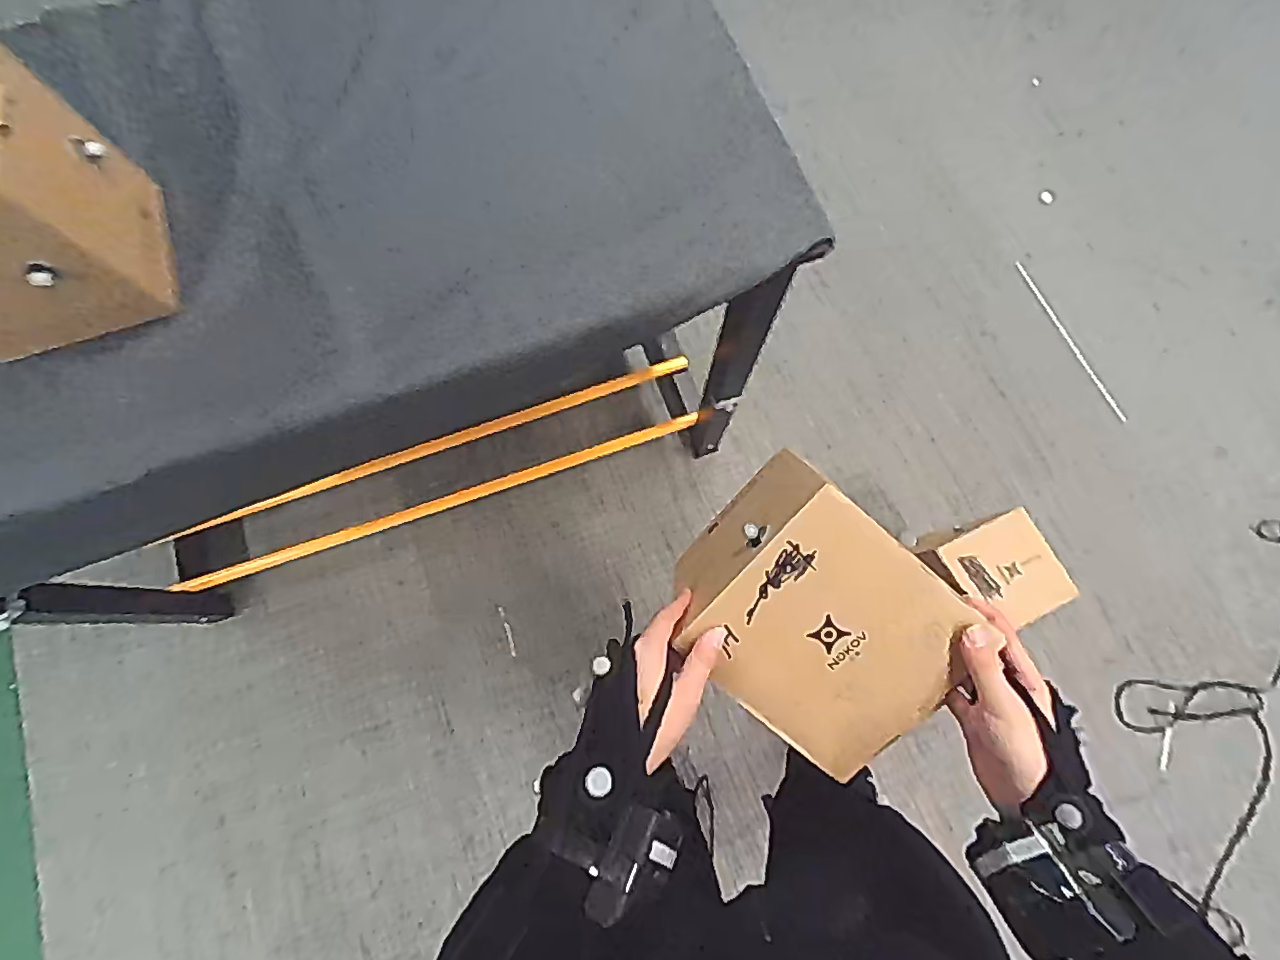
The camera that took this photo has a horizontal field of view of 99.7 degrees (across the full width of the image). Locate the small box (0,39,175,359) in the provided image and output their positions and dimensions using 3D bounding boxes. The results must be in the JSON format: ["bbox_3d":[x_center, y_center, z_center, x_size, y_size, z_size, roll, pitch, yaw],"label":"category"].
[{"bbox_3d":[-0.569,-0.237,0.488,0.179,0.176,0.168,-19,74,-5],"label":"small box"}]

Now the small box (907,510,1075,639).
[{"bbox_3d":[0.596,0.176,0.963,0.179,0.176,0.168,-24,76,-8],"label":"small box"}]

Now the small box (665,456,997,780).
[{"bbox_3d":[0.139,0.098,0.463,0.179,0.176,0.168,40,101,-5],"label":"small box"}]
